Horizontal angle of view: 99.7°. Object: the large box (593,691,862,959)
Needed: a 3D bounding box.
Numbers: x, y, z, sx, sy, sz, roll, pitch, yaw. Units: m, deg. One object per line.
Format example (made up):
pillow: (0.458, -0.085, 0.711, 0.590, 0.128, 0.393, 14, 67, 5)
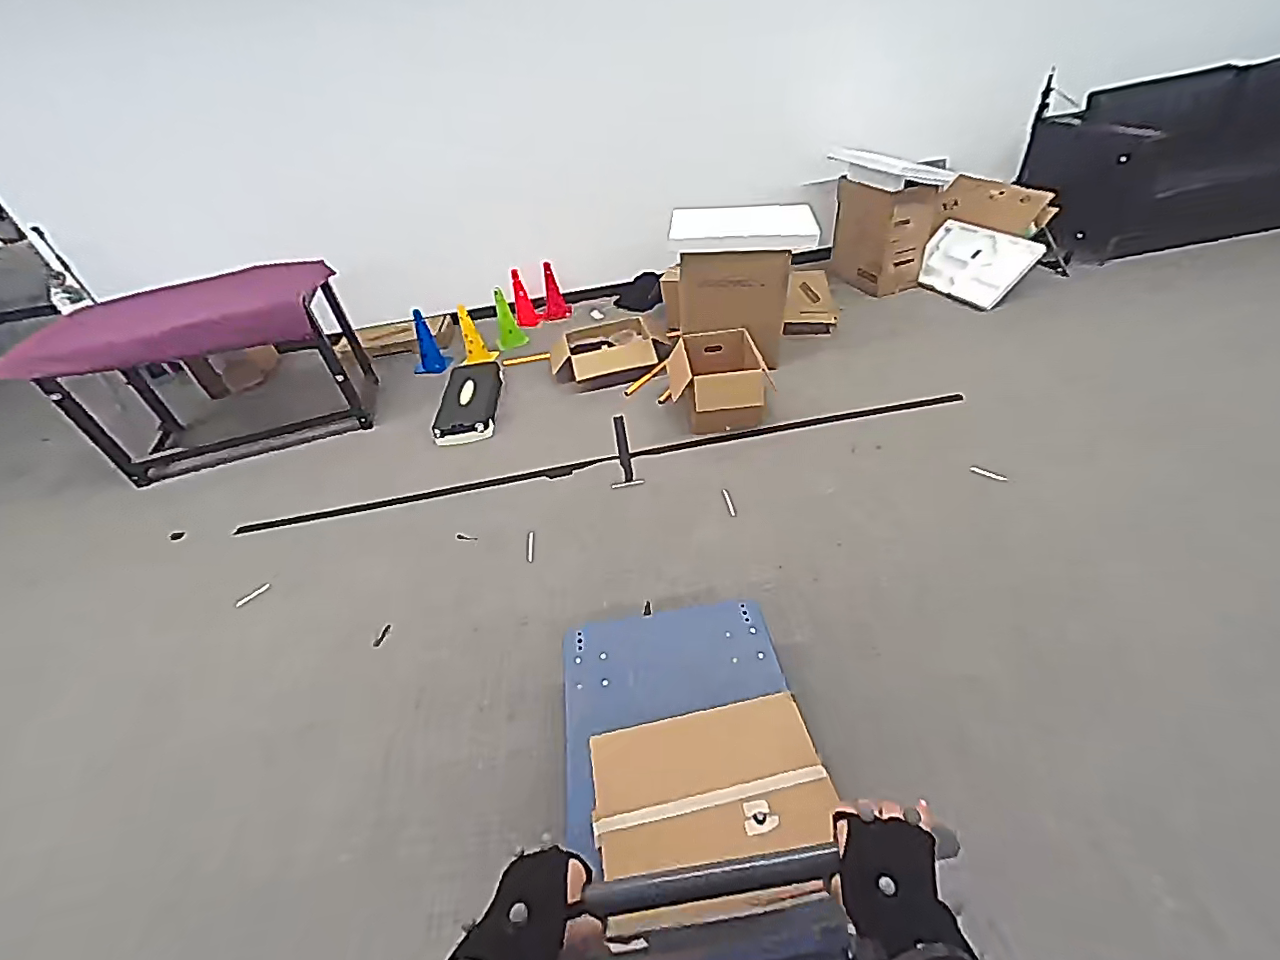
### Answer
large box: (0.144, 0.667, 1.041, 0.408, 0.320, 0.320, -11, 41, -5)
